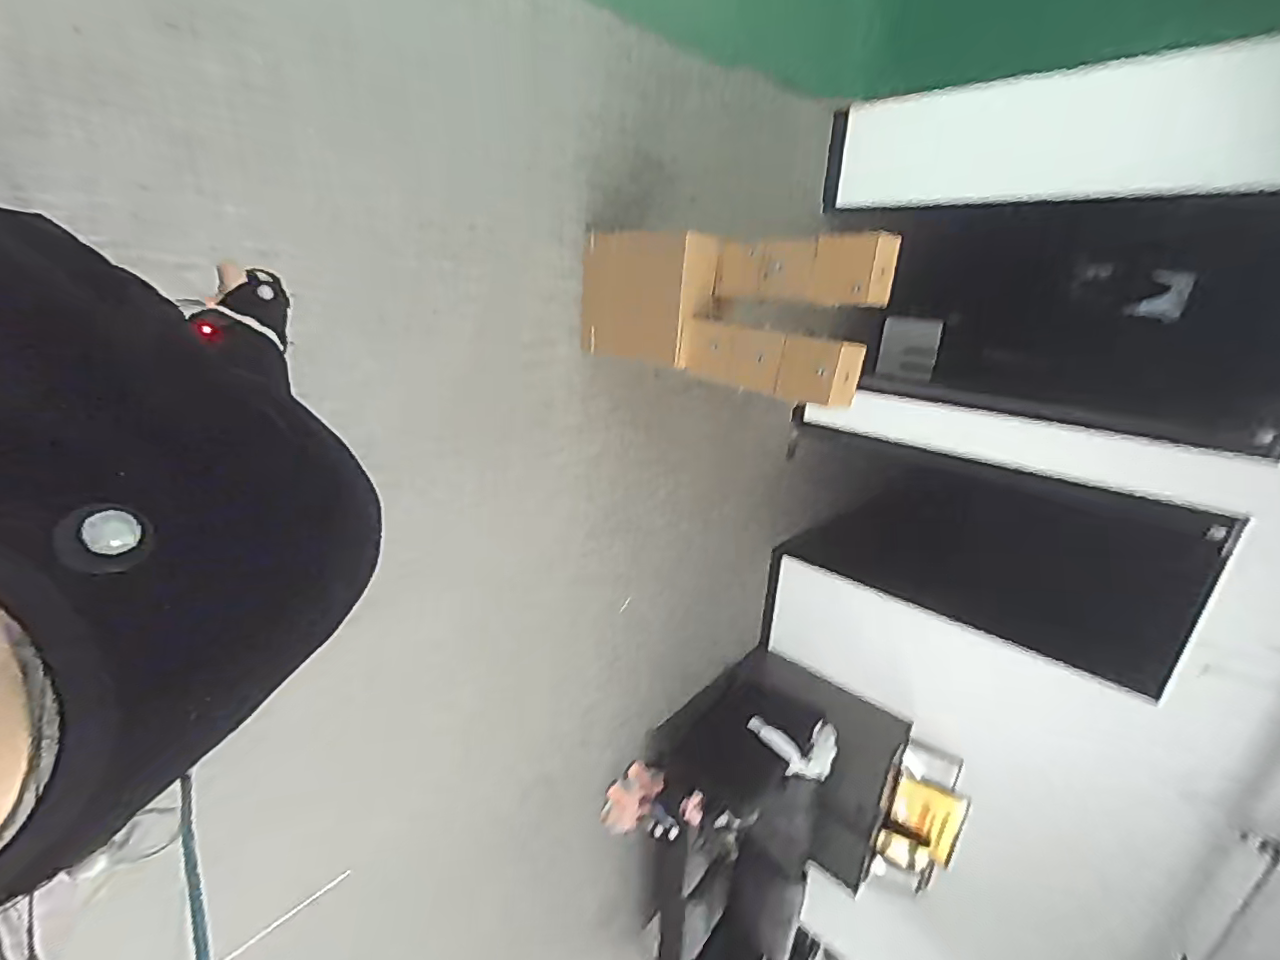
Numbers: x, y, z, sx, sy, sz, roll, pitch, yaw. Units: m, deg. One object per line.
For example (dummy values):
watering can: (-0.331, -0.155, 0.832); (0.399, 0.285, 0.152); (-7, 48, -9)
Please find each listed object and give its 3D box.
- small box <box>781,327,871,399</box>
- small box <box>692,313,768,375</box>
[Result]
small box: (0.517, -0.330, 1.519); (0.168, 0.176, 0.179); (-9, 115, -46)
small box: (0.284, -0.435, 1.722); (0.168, 0.176, 0.179); (-14, 116, -43)
